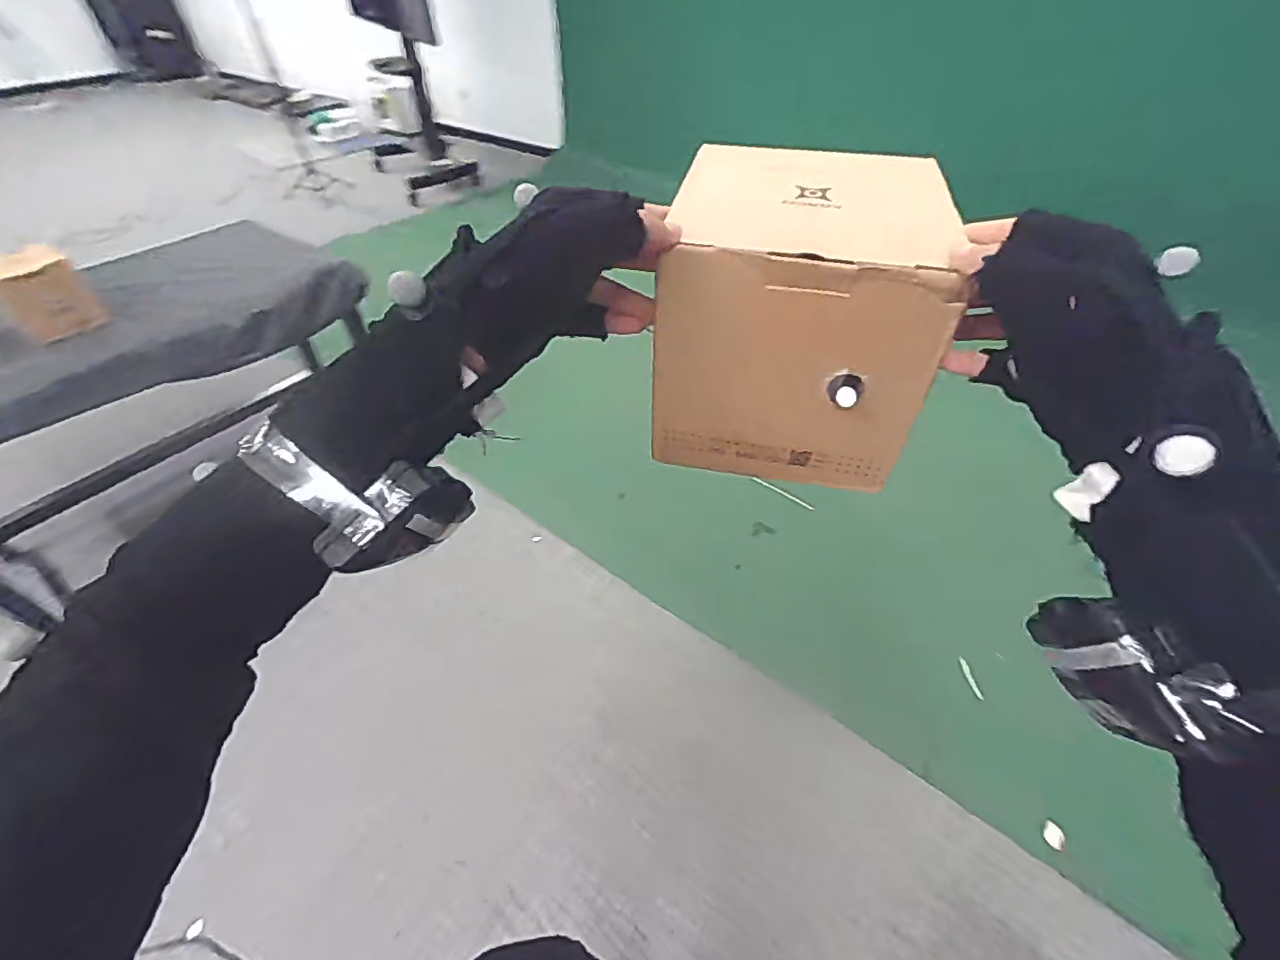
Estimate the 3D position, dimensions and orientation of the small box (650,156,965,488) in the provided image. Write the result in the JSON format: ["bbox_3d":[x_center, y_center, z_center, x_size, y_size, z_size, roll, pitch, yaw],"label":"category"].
[{"bbox_3d":[0.104,-0.116,0.398,0.168,0.176,0.179,9,47,8],"label":"small box"}]

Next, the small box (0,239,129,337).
[{"bbox_3d":[-1.481,-0.489,1.388,0.179,0.176,0.168,29,52,25],"label":"small box"}]
